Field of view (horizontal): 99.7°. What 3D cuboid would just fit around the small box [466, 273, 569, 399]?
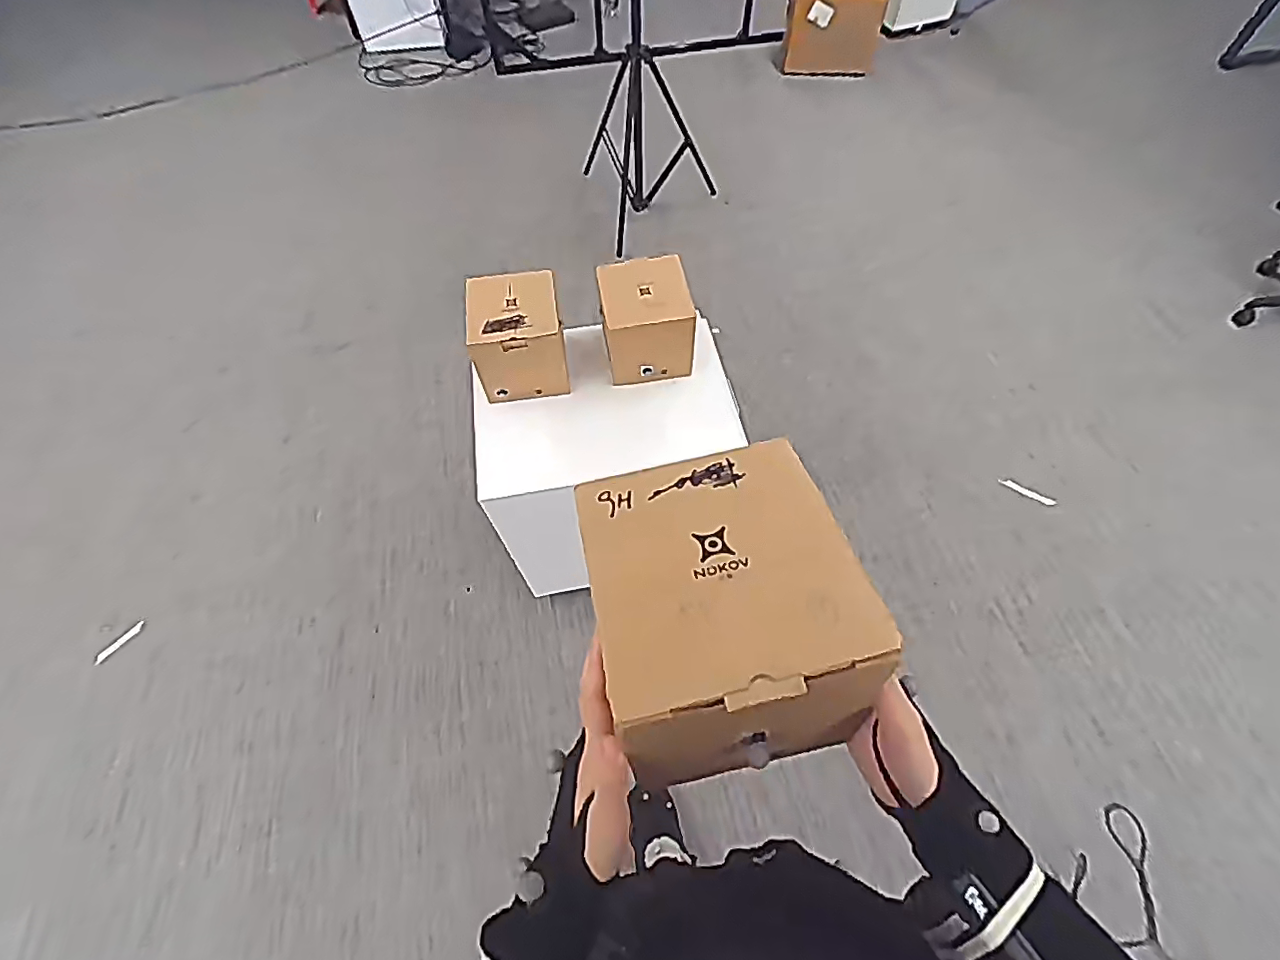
[{"bbox_3d":[-0.236,-0.273,1.061,0.168,0.176,0.179,-8,60,-4],"label":"small box"}]

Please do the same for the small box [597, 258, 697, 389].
[{"bbox_3d":[0.011,-0.310,1.081,0.168,0.176,0.179,-10,62,-3],"label":"small box"}]

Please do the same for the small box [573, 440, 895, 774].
[{"bbox_3d":[0.054,0.102,0.405,0.168,0.176,0.179,-12,50,-4],"label":"small box"}]
